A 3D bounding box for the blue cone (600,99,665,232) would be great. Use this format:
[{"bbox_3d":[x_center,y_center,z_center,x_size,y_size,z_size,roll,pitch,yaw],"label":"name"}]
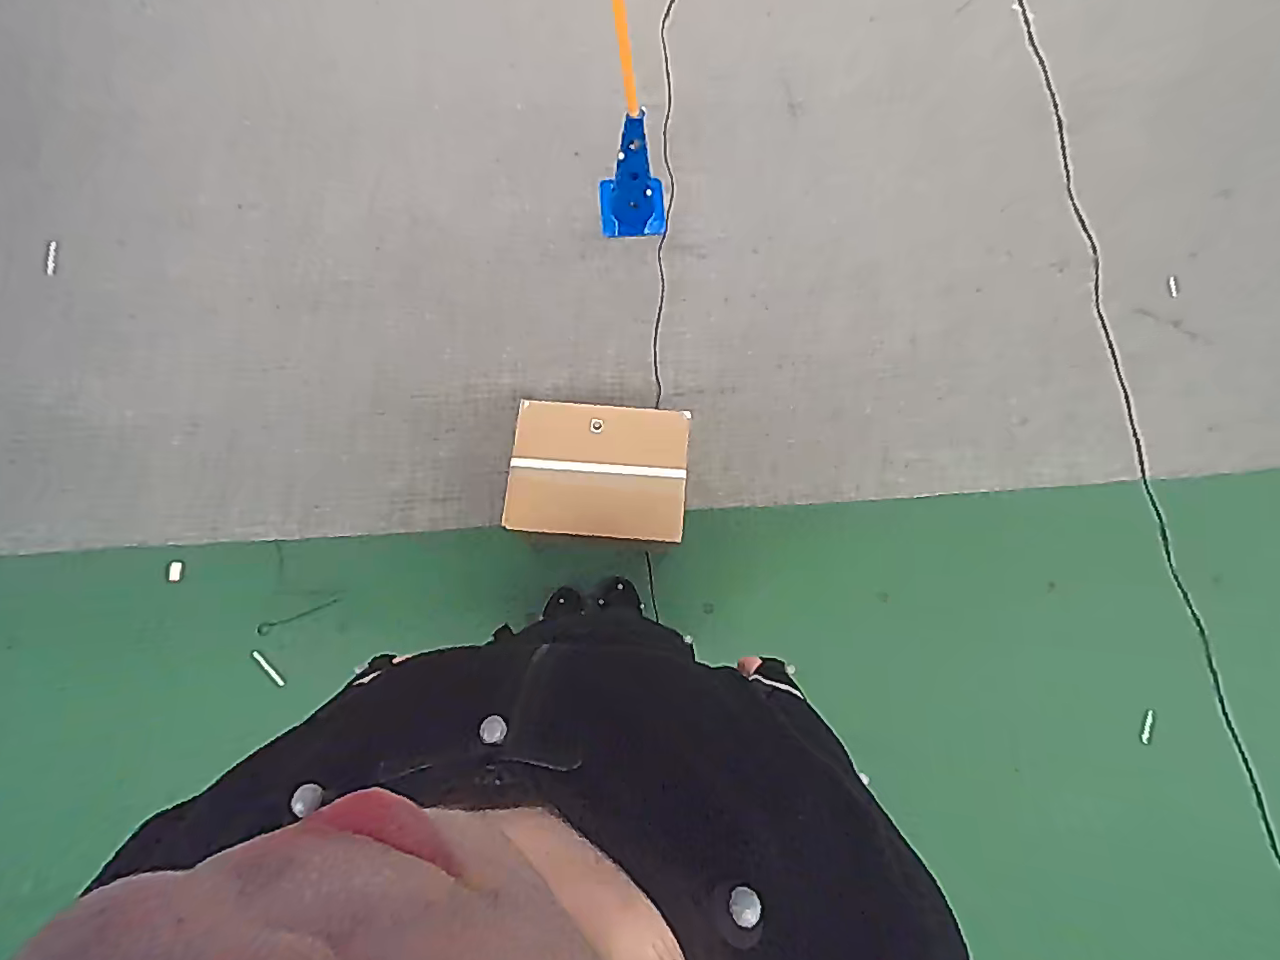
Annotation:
[{"bbox_3d":[-0.021,-0.887,1.516,0.193,0.380,0.192,-7,80,-2],"label":"blue cone"}]
